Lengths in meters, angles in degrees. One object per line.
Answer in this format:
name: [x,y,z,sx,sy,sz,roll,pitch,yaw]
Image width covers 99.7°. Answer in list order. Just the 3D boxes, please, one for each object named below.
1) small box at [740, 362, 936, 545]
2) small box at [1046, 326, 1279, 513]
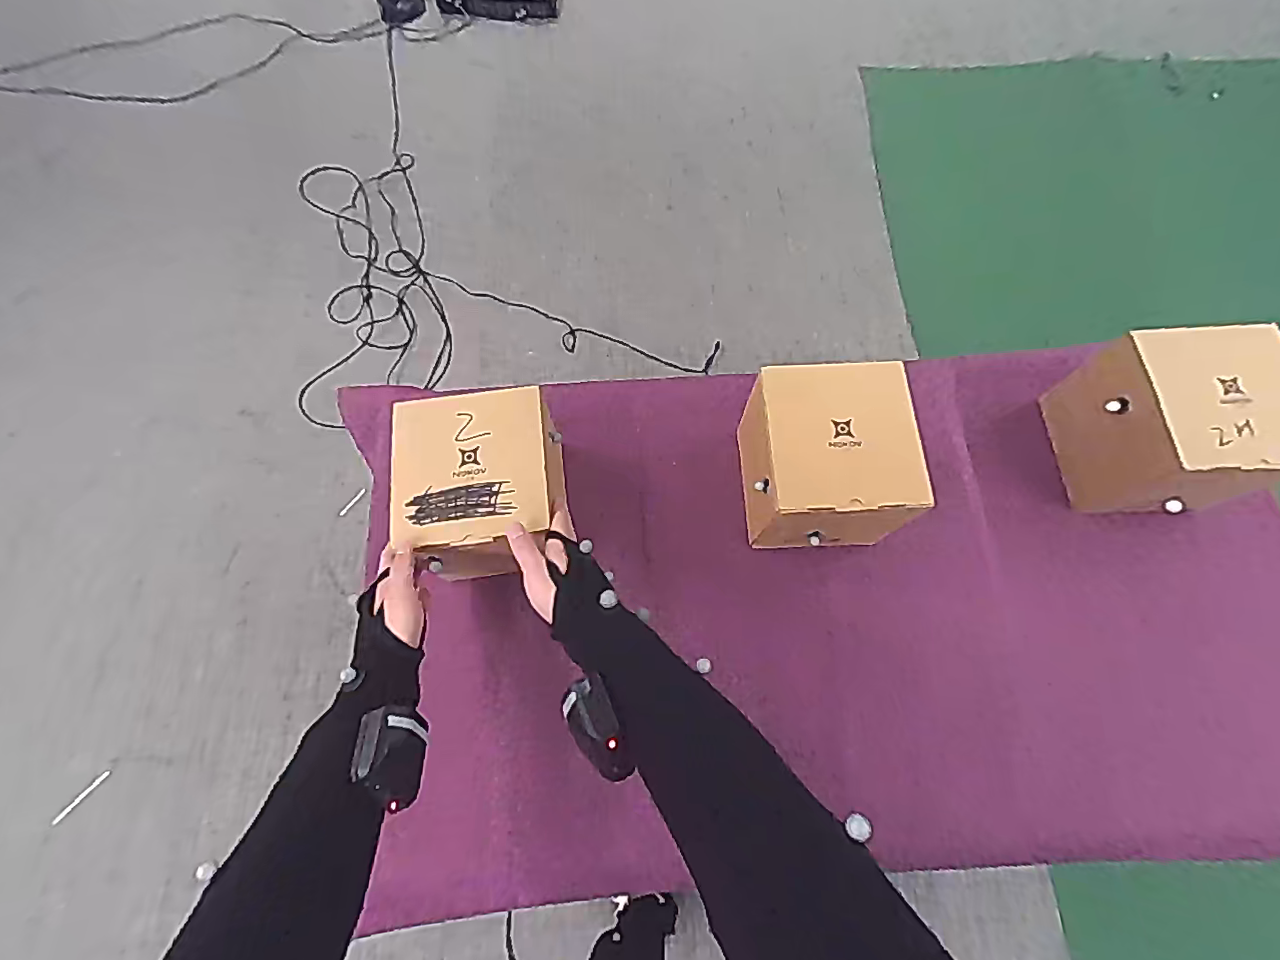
small box: [0.223,-0.025,0.662,0.168,0.176,0.179,-2,72,-1]
small box: [0.650,-0.067,0.667,0.168,0.176,0.179,-2,71,2]
